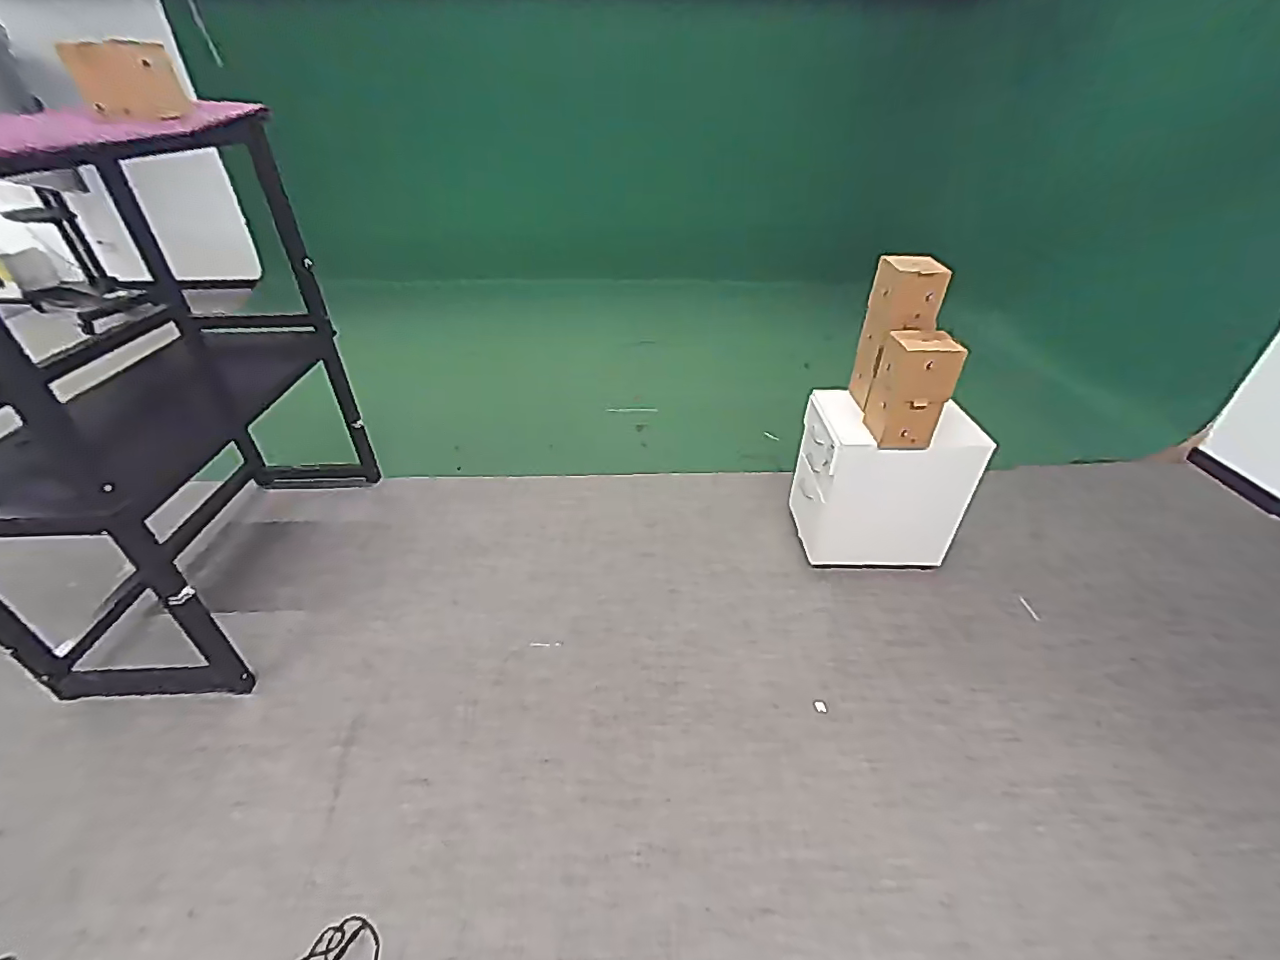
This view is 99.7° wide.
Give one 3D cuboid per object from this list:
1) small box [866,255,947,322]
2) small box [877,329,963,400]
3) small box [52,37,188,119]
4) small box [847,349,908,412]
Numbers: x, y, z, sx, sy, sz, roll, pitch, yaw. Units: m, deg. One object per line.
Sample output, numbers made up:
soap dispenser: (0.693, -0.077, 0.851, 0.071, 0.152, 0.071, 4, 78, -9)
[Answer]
small box: (0.867, -0.629, 1.774, 0.168, 0.176, 0.179, 2, 37, -1)
small box: (0.858, -0.359, 1.684, 0.179, 0.176, 0.168, 2, 37, 0)
small box: (-1.390, -1.083, 1.464, 0.168, 0.176, 0.179, -2, 37, 1)
small box: (0.874, -0.365, 1.969, 0.168, 0.176, 0.179, 0, 38, 0)
